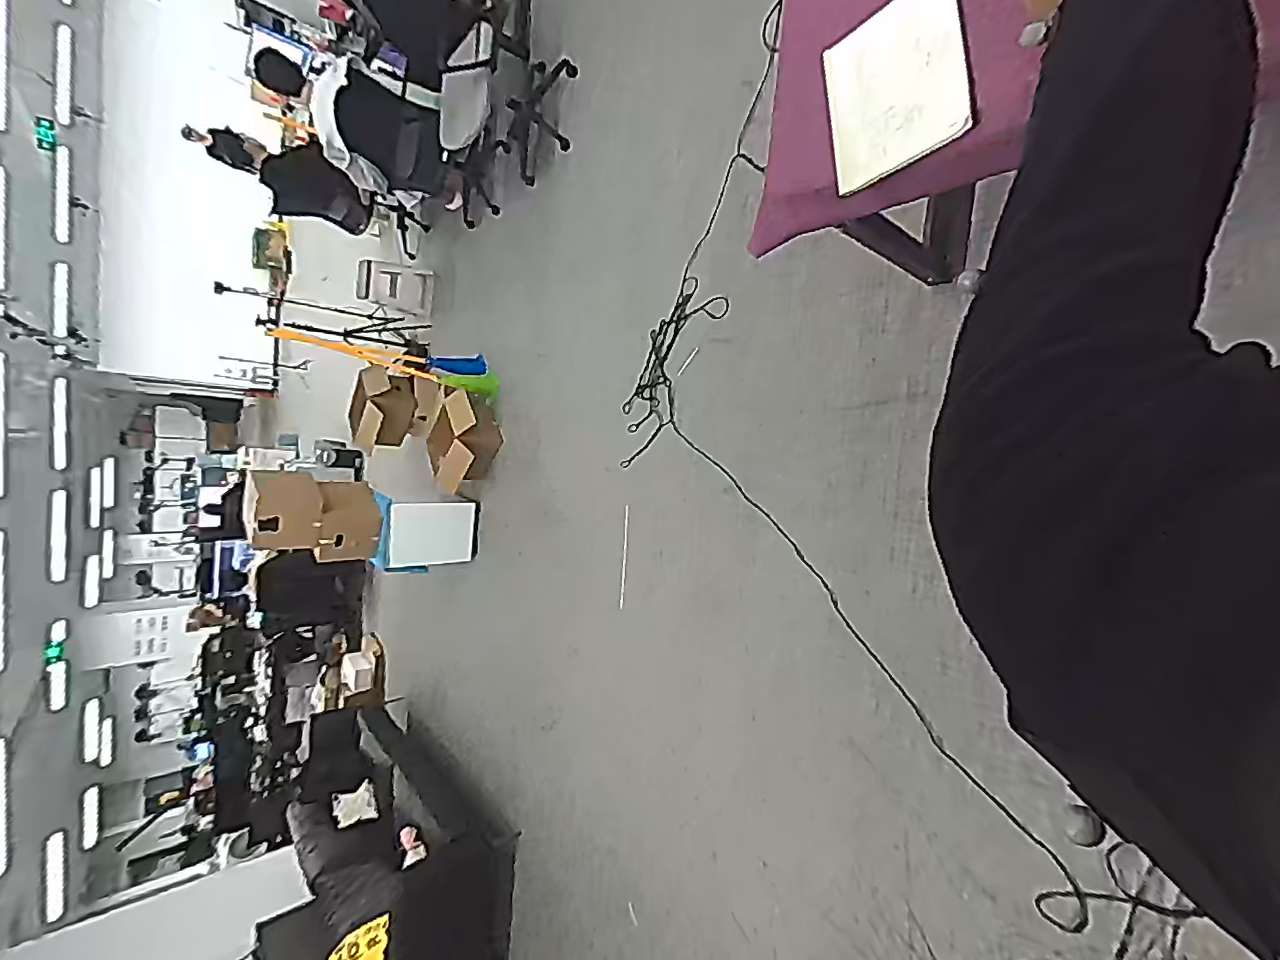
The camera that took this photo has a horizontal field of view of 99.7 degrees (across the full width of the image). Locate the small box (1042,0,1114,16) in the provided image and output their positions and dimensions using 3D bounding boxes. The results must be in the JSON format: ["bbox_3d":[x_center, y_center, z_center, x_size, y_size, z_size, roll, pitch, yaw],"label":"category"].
[{"bbox_3d":[0.523,-0.643,0.566,0.168,0.176,0.179,11,98,48],"label":"small box"}]
